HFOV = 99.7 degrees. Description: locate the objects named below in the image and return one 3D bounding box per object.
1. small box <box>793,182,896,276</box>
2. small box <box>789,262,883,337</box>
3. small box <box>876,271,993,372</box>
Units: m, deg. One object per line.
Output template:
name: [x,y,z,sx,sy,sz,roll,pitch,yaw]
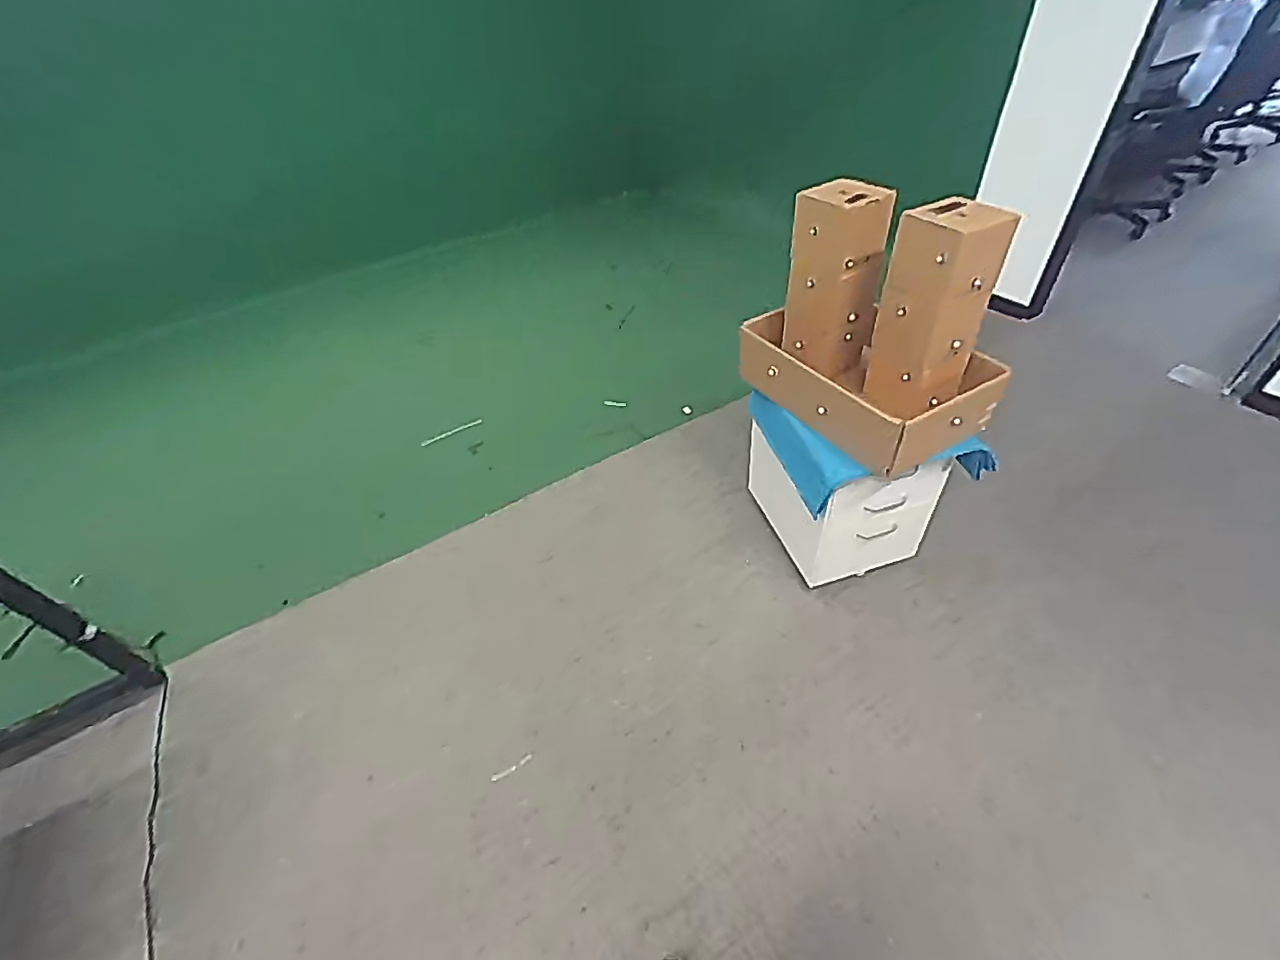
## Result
small box: [0.520,-0.645,1.399,0.168,0.176,0.179,-26,46,-19]
small box: [0.536,-0.523,1.507,0.168,0.176,0.179,-29,49,-21]
small box: [0.722,-0.396,1.351,0.168,0.176,0.179,-23,46,-15]
